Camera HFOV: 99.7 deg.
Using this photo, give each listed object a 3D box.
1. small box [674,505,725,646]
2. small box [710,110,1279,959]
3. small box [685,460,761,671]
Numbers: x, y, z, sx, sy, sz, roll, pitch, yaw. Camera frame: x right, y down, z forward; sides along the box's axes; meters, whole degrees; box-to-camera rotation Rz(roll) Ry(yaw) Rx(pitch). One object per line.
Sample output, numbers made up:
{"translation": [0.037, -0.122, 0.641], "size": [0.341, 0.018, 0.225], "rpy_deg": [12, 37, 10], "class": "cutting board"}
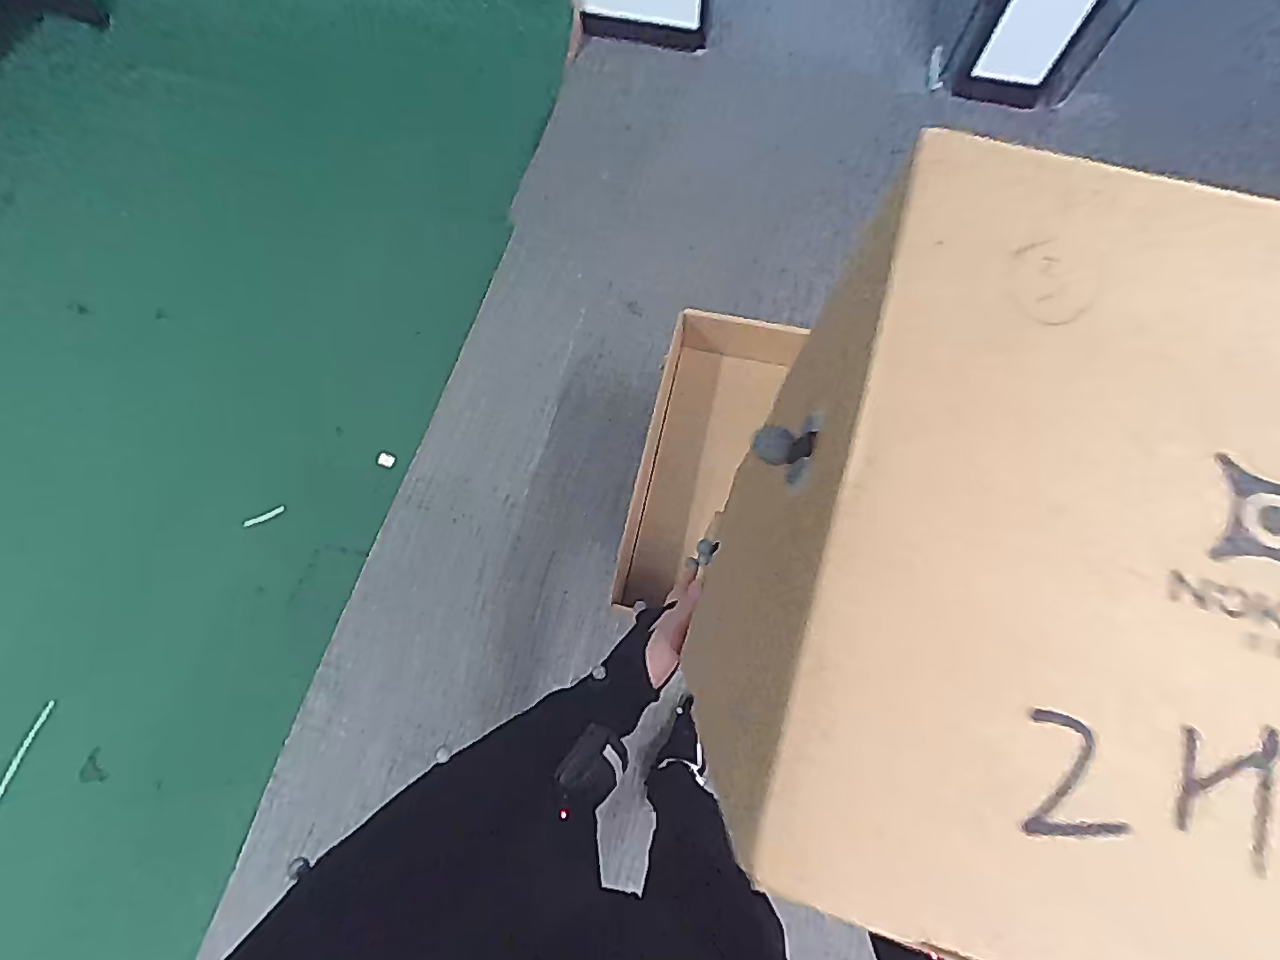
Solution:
{"translation": [0.146, 0.147, 0.667], "size": [0.179, 0.176, 0.168], "rpy_deg": [17, 78, 5], "class": "small box"}
{"translation": [0.127, 0.028, 0.189], "size": [0.168, 0.176, 0.179], "rpy_deg": [17, 78, 6], "class": "small box"}
{"translation": [0.145, 0.106, 0.509], "size": [0.168, 0.176, 0.179], "rpy_deg": [19, 77, 5], "class": "small box"}
